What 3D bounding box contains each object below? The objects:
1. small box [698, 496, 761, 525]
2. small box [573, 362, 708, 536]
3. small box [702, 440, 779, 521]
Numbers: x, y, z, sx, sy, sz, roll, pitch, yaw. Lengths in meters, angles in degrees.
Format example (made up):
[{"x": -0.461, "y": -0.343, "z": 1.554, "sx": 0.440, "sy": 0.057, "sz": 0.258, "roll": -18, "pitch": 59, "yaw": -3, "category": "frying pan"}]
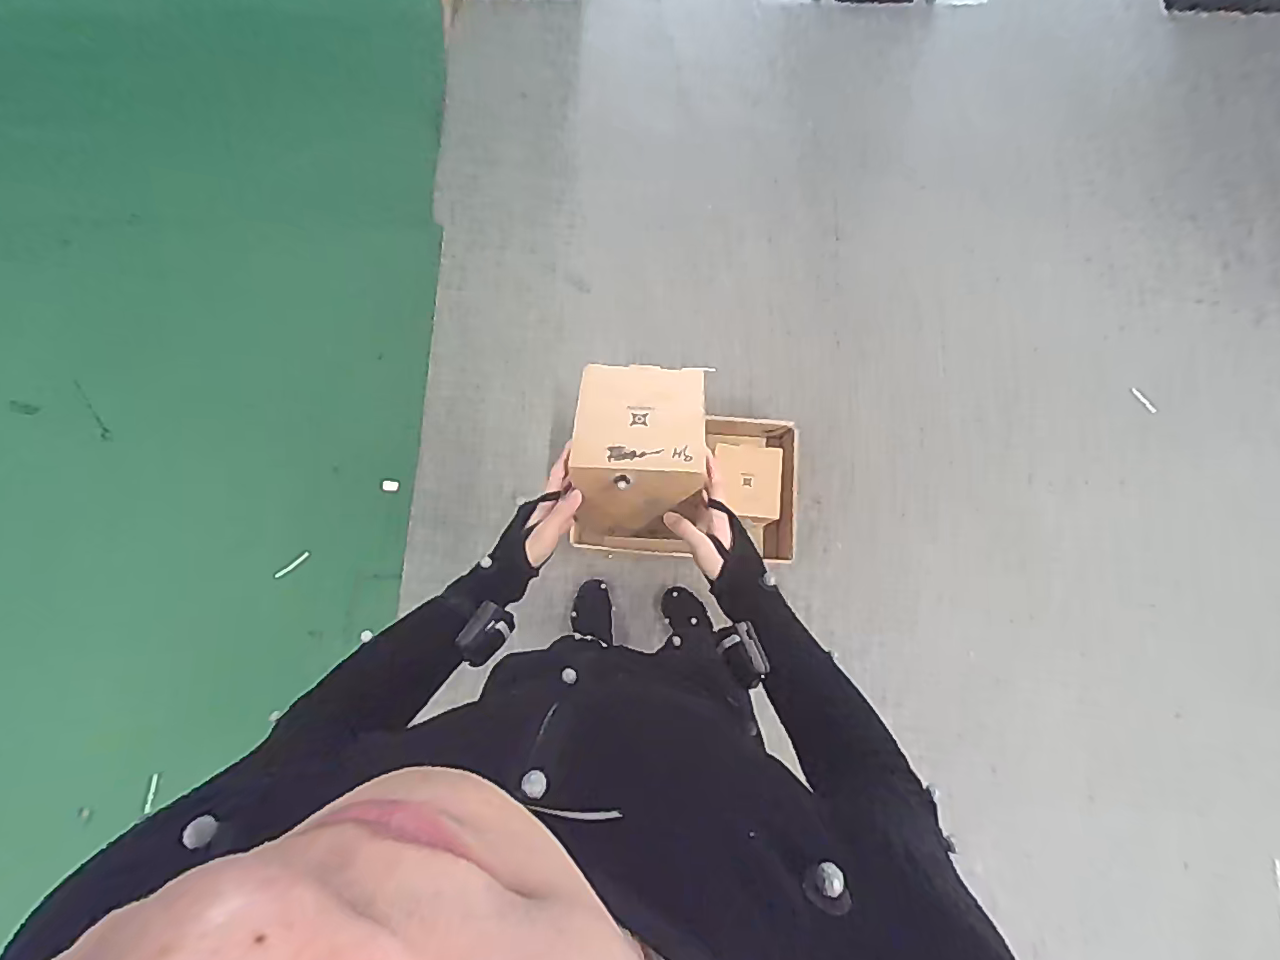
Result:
[{"x": 0.255, "y": 0.036, "z": 1.553, "sx": 0.168, "sy": 0.176, "sz": 0.179, "roll": 2, "pitch": 81, "yaw": 1, "category": "small box"}, {"x": 0.003, "y": -0.042, "z": 0.757, "sx": 0.168, "sy": 0.176, "sz": 0.179, "roll": 2, "pitch": 54, "yaw": 1, "category": "small box"}, {"x": 0.253, "y": 0.006, "z": 1.392, "sx": 0.168, "sy": 0.176, "sz": 0.179, "roll": 5, "pitch": 81, "yaw": 2, "category": "small box"}]
